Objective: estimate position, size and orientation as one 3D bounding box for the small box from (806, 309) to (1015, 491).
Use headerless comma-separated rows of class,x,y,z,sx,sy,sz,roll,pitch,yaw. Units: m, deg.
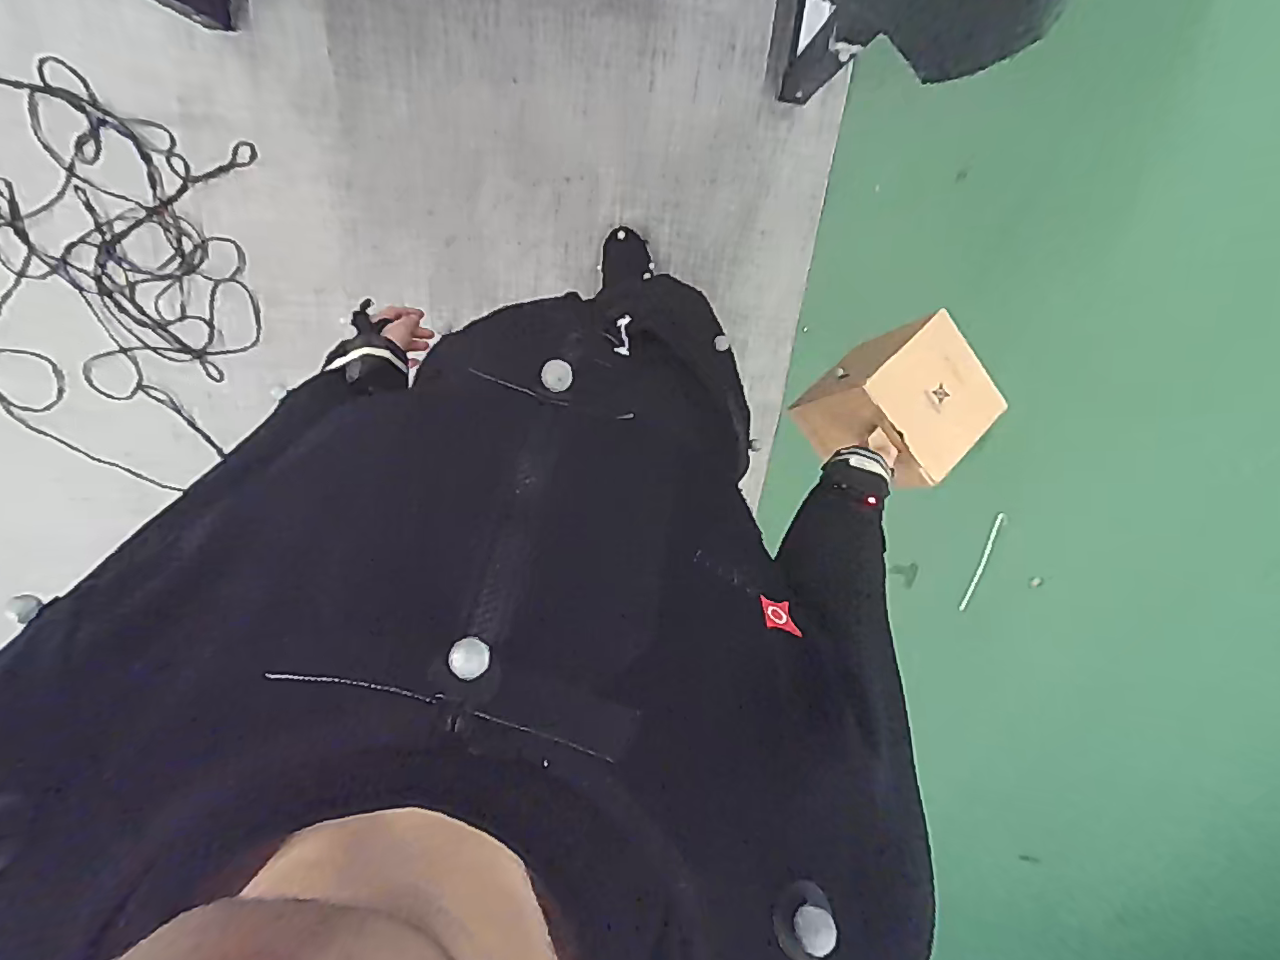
small box,0.361,-0.099,0.755,0.179,0.176,0.168,-42,99,-17
